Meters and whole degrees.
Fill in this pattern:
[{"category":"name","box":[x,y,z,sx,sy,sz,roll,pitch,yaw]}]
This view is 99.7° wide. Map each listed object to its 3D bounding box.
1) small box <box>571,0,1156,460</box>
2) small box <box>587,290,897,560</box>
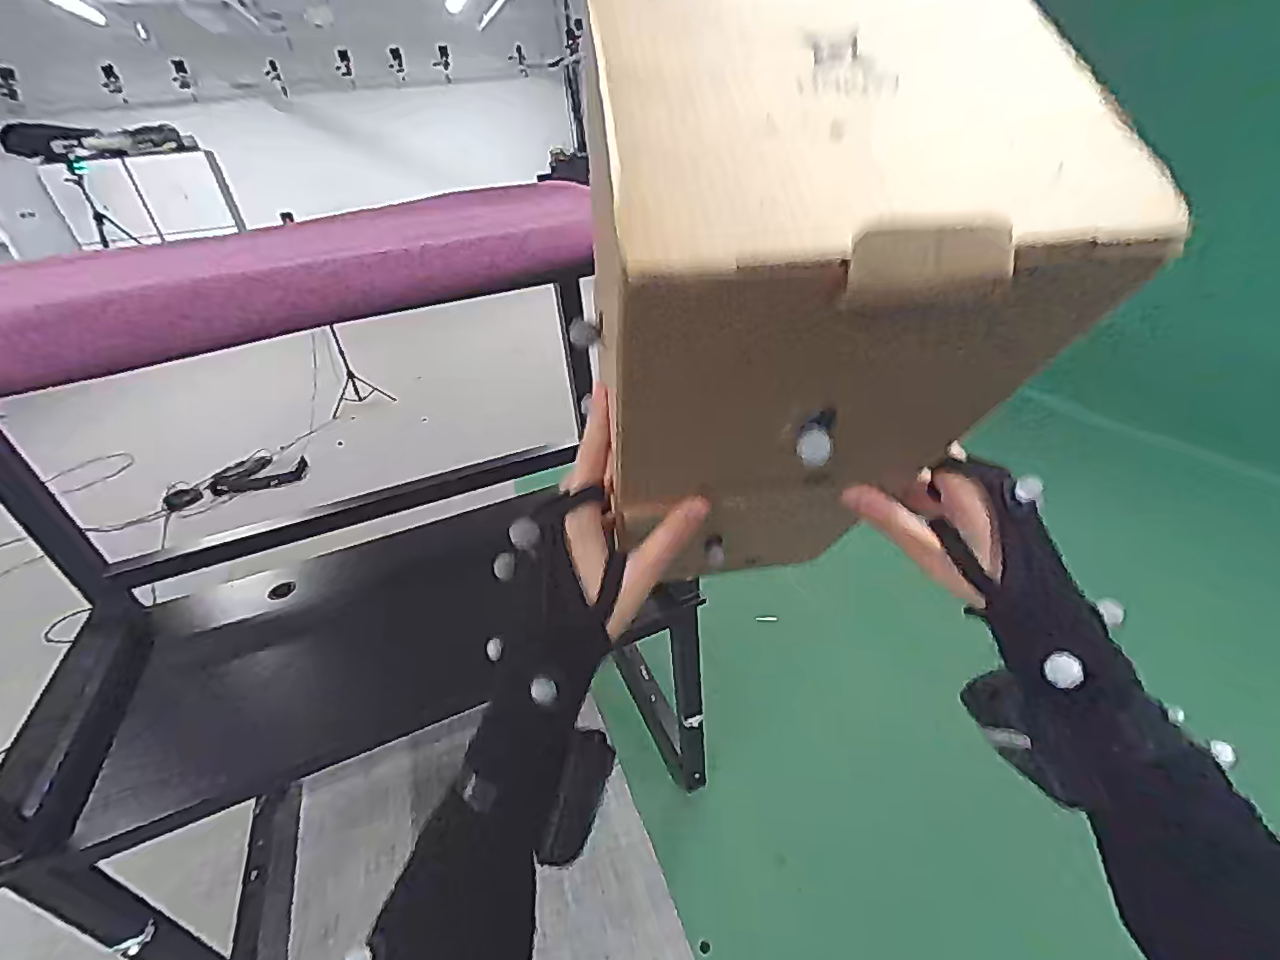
[{"category":"small box","box":[0.057,-0.117,0.255,0.168,0.176,0.179,-4,66,-4]},{"category":"small box","box":[0.054,-0.047,0.404,0.168,0.176,0.179,-6,65,-4]}]
